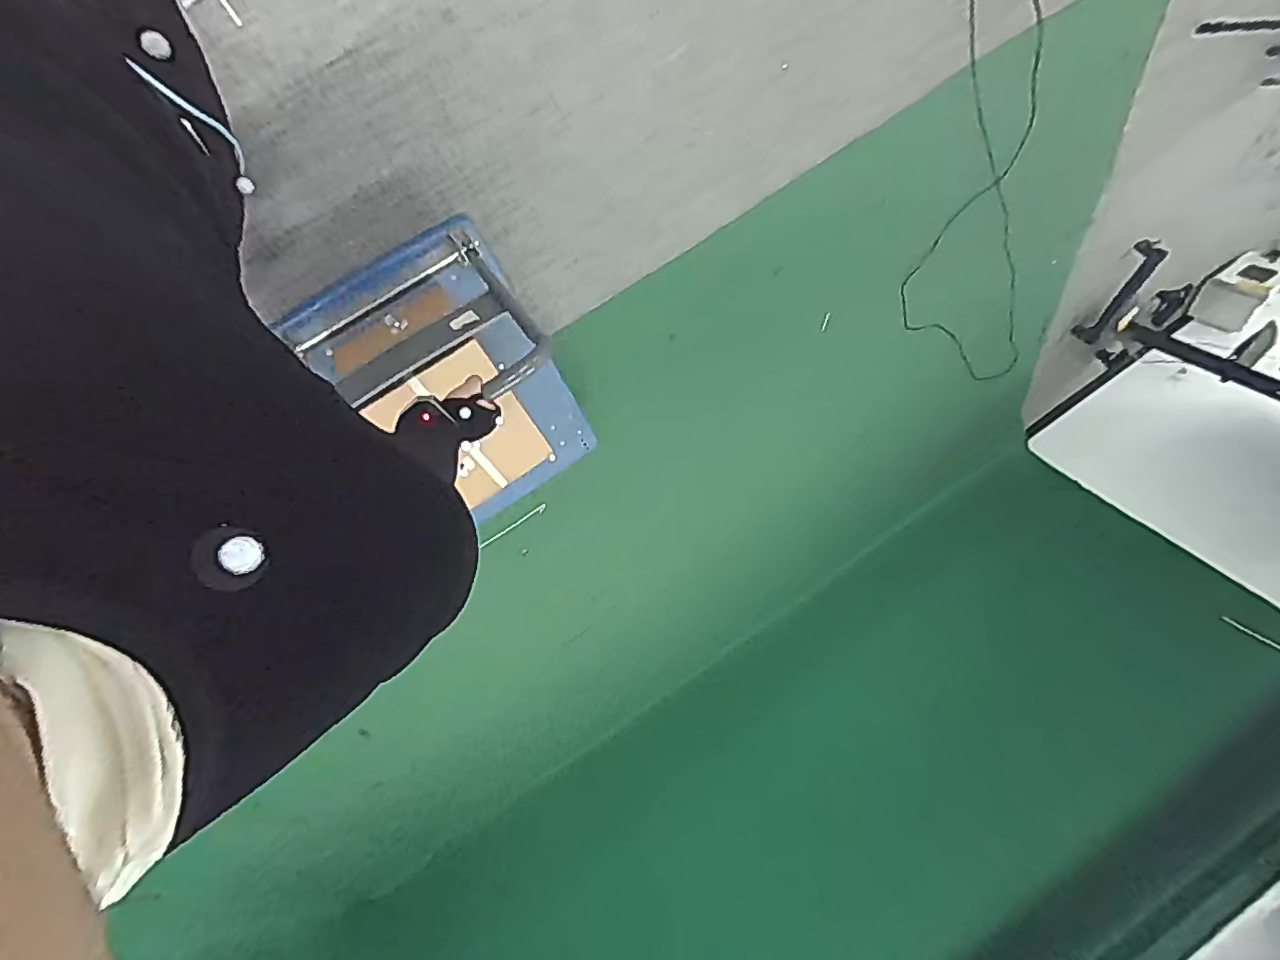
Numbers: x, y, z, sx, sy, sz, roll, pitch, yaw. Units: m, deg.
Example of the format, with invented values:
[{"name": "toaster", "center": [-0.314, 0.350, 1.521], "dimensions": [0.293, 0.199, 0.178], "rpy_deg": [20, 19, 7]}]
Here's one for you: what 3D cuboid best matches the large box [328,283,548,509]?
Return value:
[{"name": "large box", "center": [-0.503, -0.208, 1.376], "dimensions": [0.320, 0.320, 0.408], "rpy_deg": [-34, 141, -5]}]
